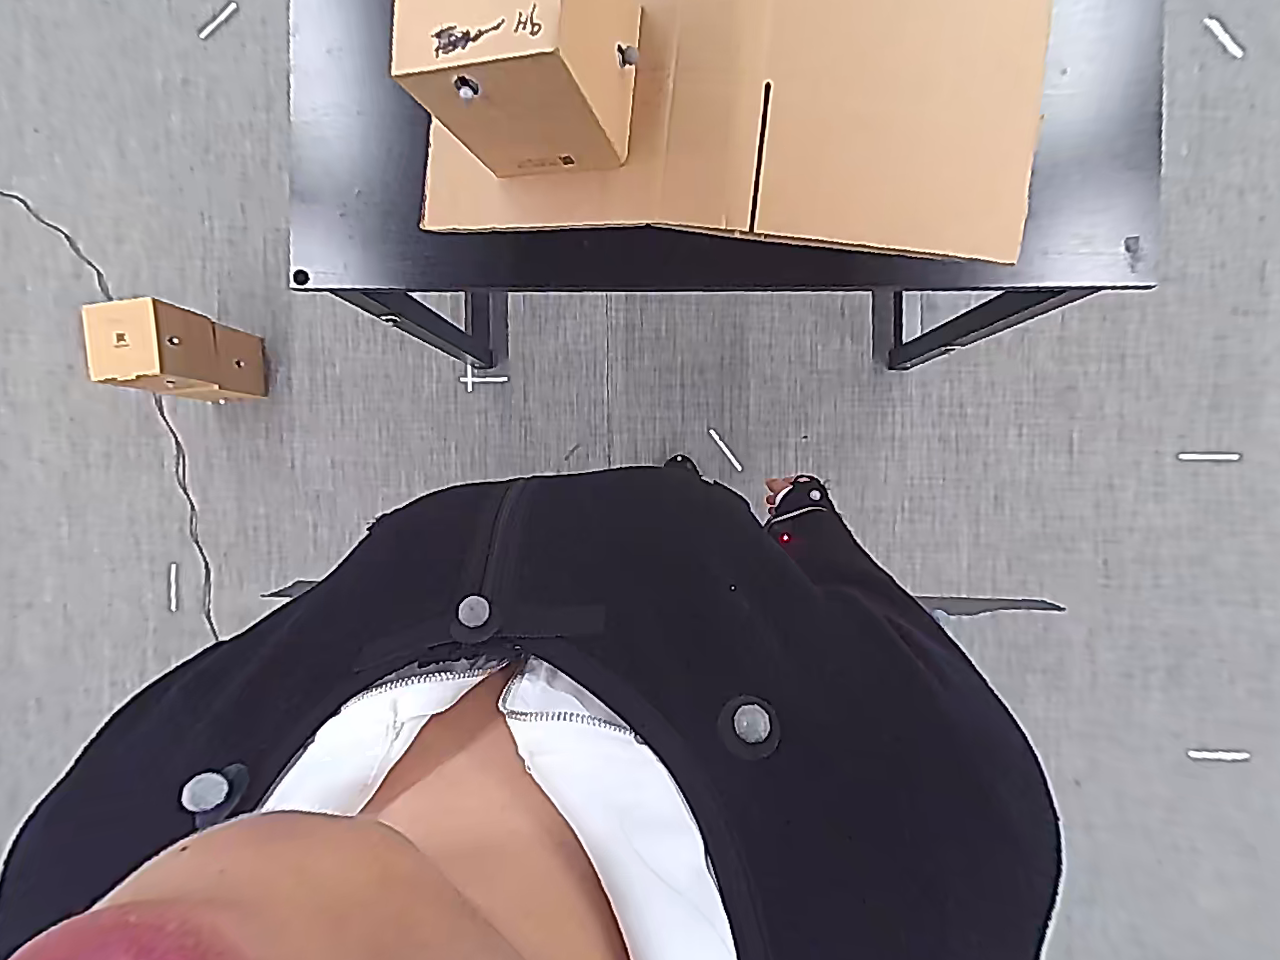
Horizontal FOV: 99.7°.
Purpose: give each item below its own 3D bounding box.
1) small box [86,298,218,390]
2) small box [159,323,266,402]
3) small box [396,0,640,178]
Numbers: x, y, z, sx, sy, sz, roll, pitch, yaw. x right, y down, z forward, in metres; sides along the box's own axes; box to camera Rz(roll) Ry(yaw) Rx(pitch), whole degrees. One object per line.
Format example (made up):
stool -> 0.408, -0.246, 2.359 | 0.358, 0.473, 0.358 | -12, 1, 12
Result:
small box -> -1.155, -0.315, 1.294 | 0.168, 0.176, 0.179 | -6, 89, 1
small box -> -1.147, -0.311, 1.456 | 0.168, 0.176, 0.179 | -3, 91, 2
small box -> -0.105, -0.431, 0.531 | 0.168, 0.176, 0.179 | 6, 90, 18
